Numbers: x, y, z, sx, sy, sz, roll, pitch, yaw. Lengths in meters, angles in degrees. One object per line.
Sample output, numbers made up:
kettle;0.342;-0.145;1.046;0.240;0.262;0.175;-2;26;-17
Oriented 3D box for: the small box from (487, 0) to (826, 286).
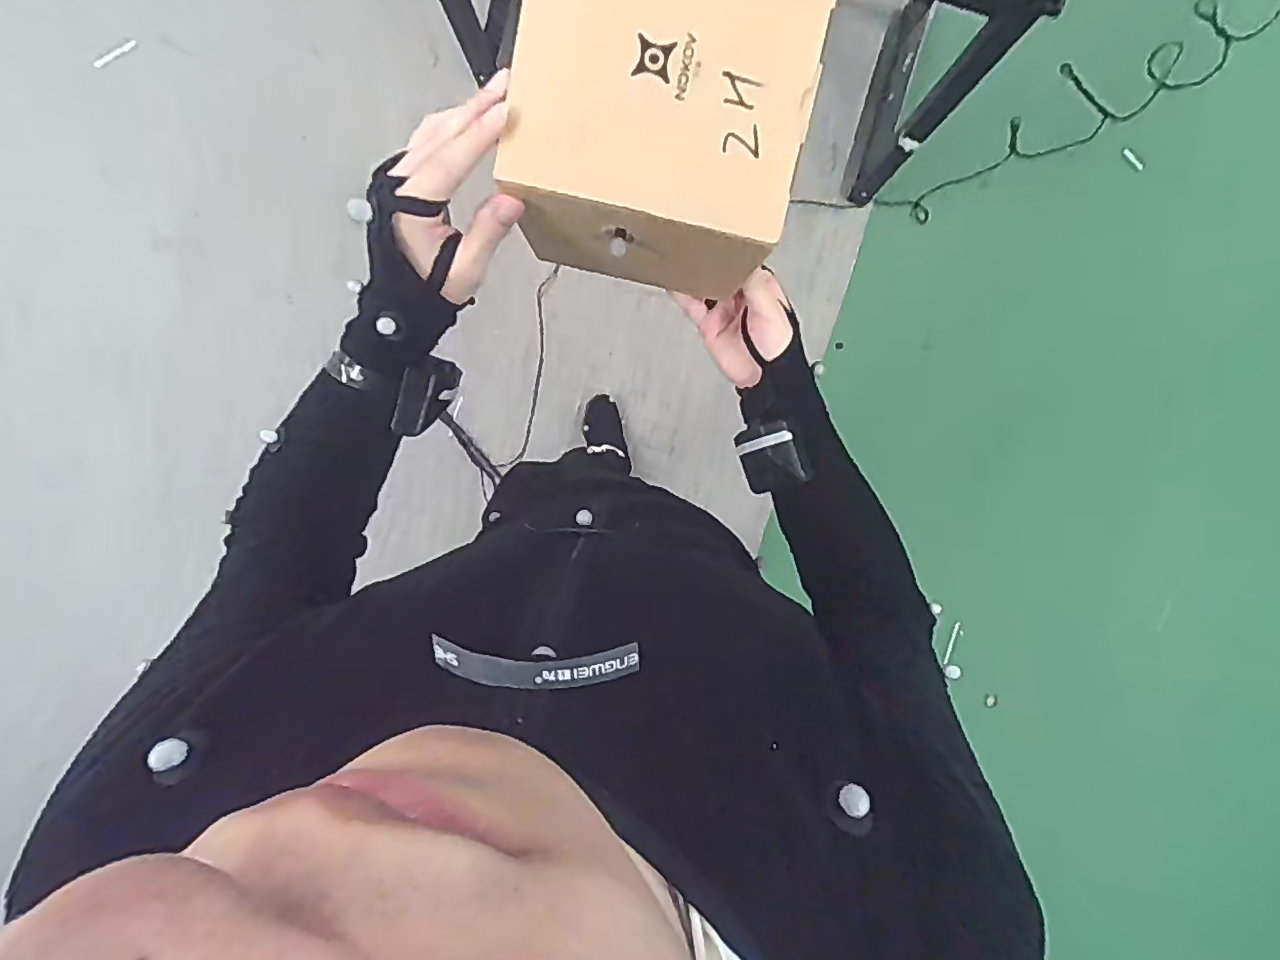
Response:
small box;0.011;-0.253;0.389;0.179;0.176;0.168;12;98;-2
